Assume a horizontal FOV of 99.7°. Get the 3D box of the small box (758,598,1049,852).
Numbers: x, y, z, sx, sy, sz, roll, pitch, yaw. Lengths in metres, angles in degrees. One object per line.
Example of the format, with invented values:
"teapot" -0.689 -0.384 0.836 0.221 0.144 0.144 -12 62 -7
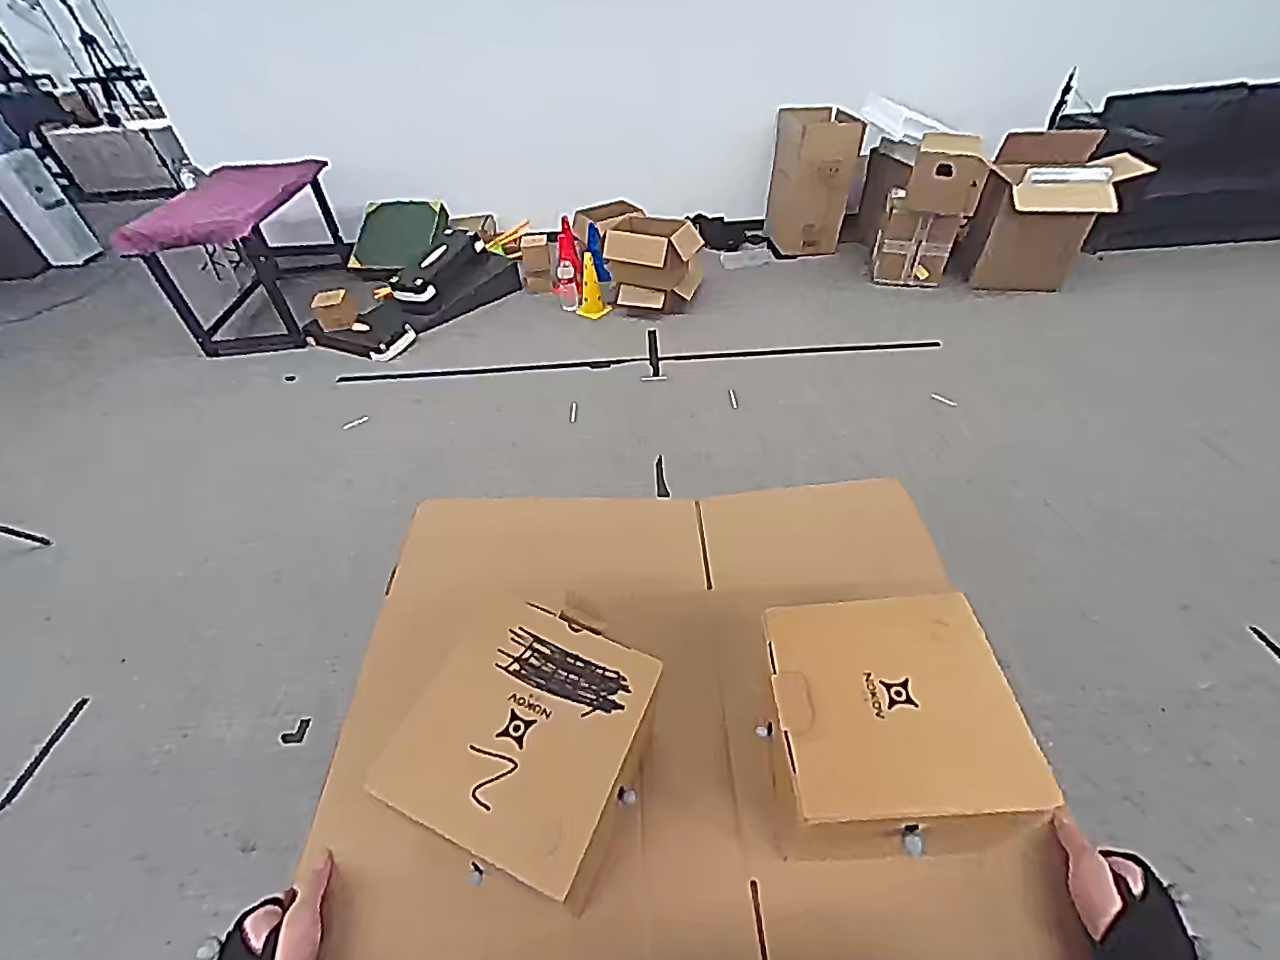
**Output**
"small box" 0.209 0.227 0.493 0.179 0.176 0.168 -7 47 5
